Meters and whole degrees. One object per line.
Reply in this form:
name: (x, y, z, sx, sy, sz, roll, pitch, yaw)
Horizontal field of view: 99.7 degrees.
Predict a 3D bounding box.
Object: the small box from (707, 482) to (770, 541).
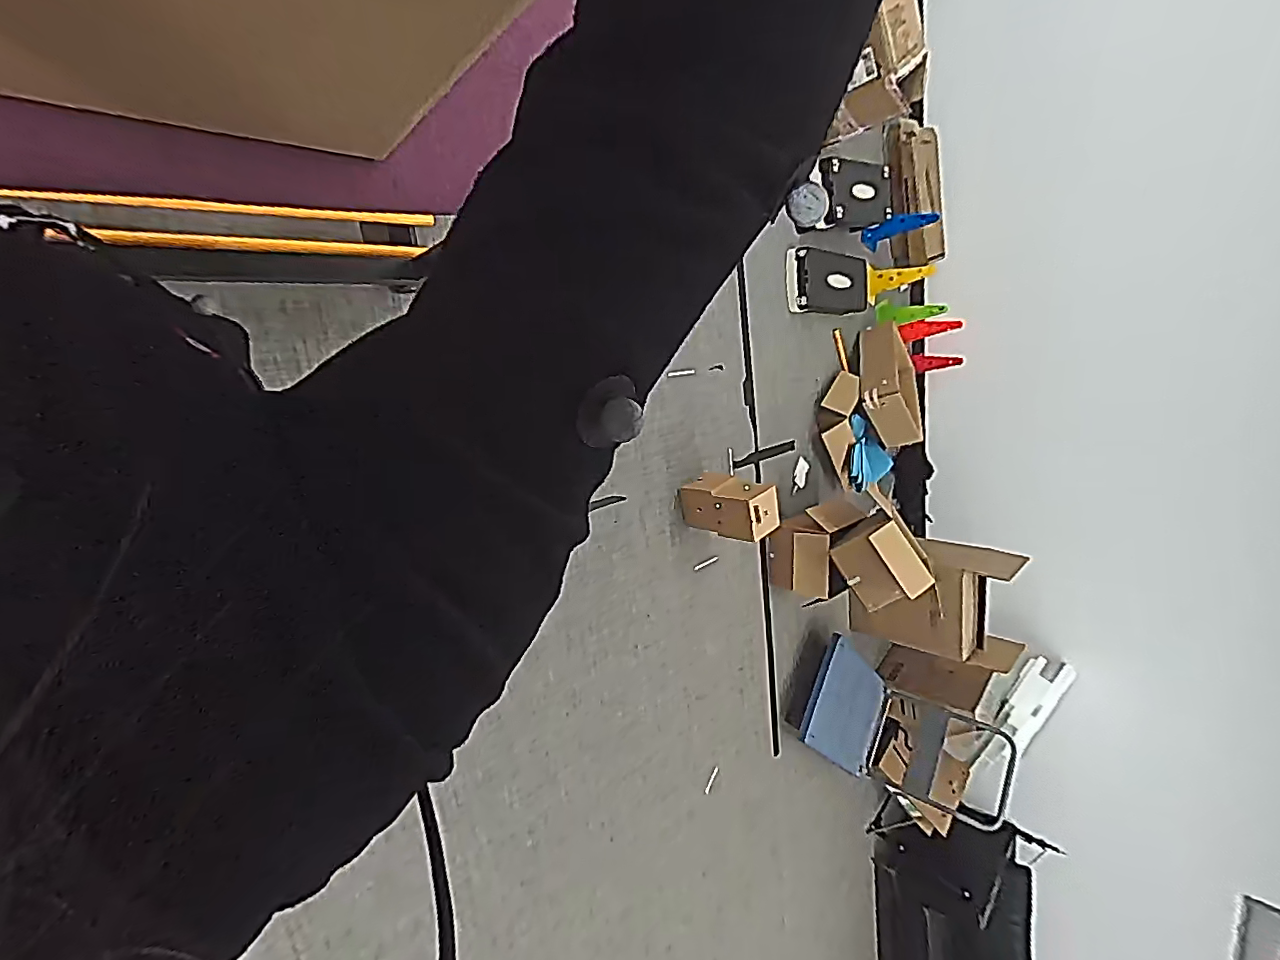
small box: (0.365, 0.115, 2.032, 0.179, 0.176, 0.168, -25, 112, -41)
